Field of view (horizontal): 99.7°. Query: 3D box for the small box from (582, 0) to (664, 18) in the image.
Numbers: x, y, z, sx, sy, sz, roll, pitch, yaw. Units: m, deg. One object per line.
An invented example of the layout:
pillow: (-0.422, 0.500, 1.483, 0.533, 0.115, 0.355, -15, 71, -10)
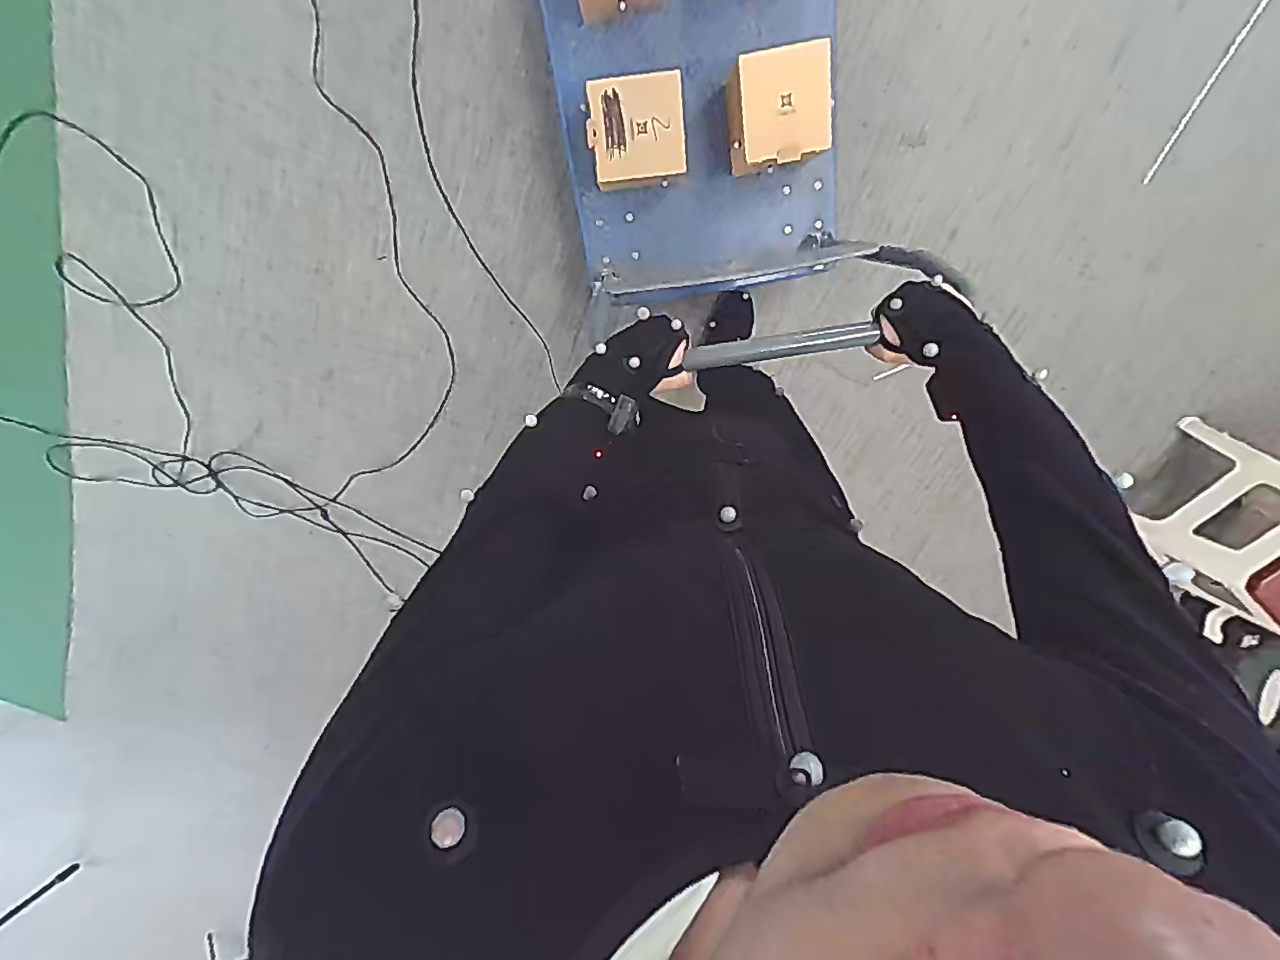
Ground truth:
small box: (-0.042, -0.960, 0.957, 0.168, 0.176, 0.179, -12, 113, 4)

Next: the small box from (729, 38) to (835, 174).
small box: (0.274, -0.722, 1.063, 0.168, 0.176, 0.179, -8, 114, 4)
